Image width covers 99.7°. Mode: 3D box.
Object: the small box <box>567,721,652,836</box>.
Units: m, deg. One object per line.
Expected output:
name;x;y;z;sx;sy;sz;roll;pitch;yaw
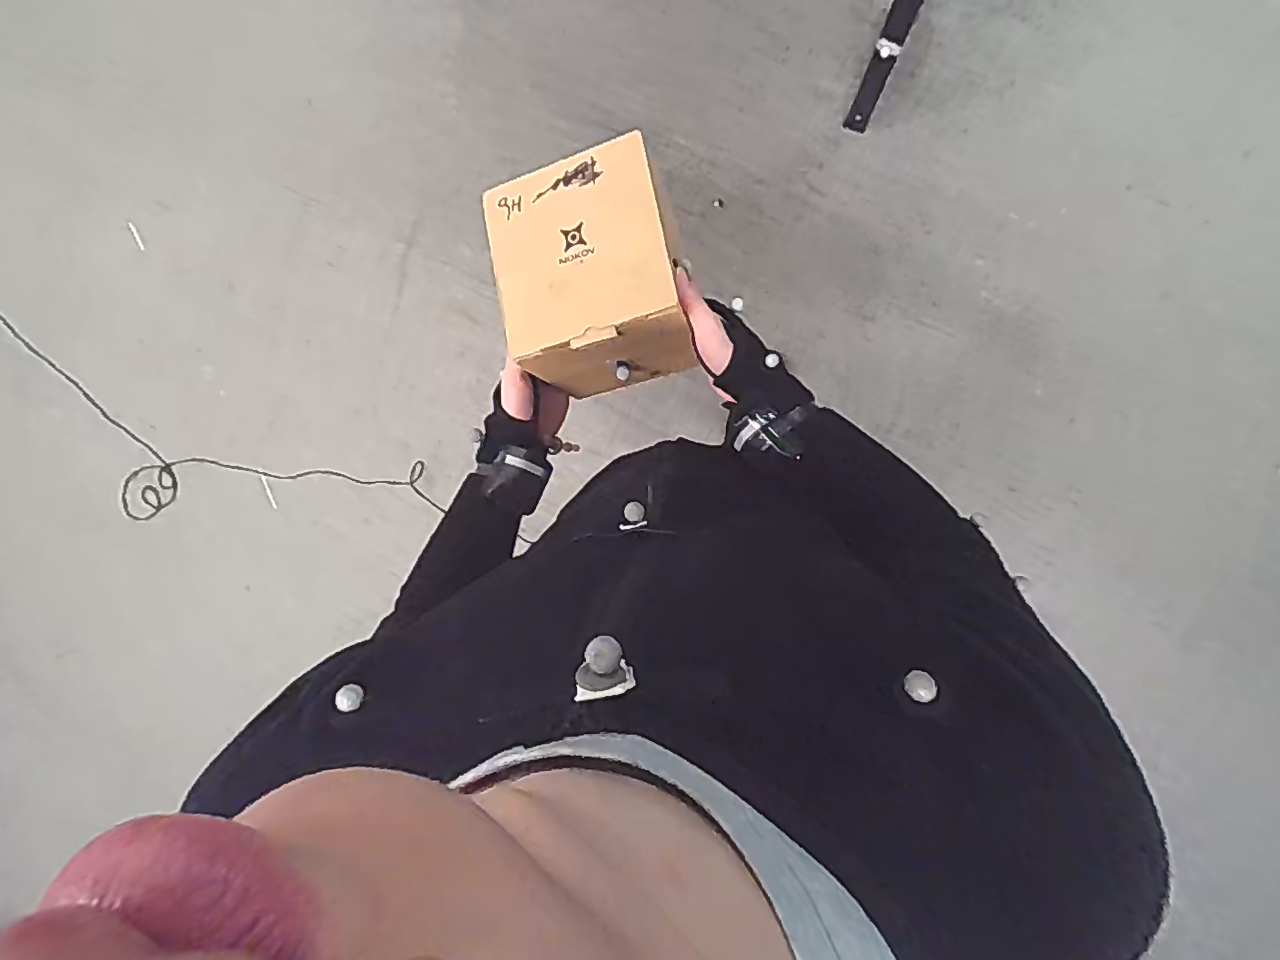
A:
small box;-0.073;0.772;1.415;0.168;0.176;0.179;14;98;8

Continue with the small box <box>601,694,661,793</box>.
small box;-0.040;0.757;1.576;0.168;0.176;0.179;13;100;9
